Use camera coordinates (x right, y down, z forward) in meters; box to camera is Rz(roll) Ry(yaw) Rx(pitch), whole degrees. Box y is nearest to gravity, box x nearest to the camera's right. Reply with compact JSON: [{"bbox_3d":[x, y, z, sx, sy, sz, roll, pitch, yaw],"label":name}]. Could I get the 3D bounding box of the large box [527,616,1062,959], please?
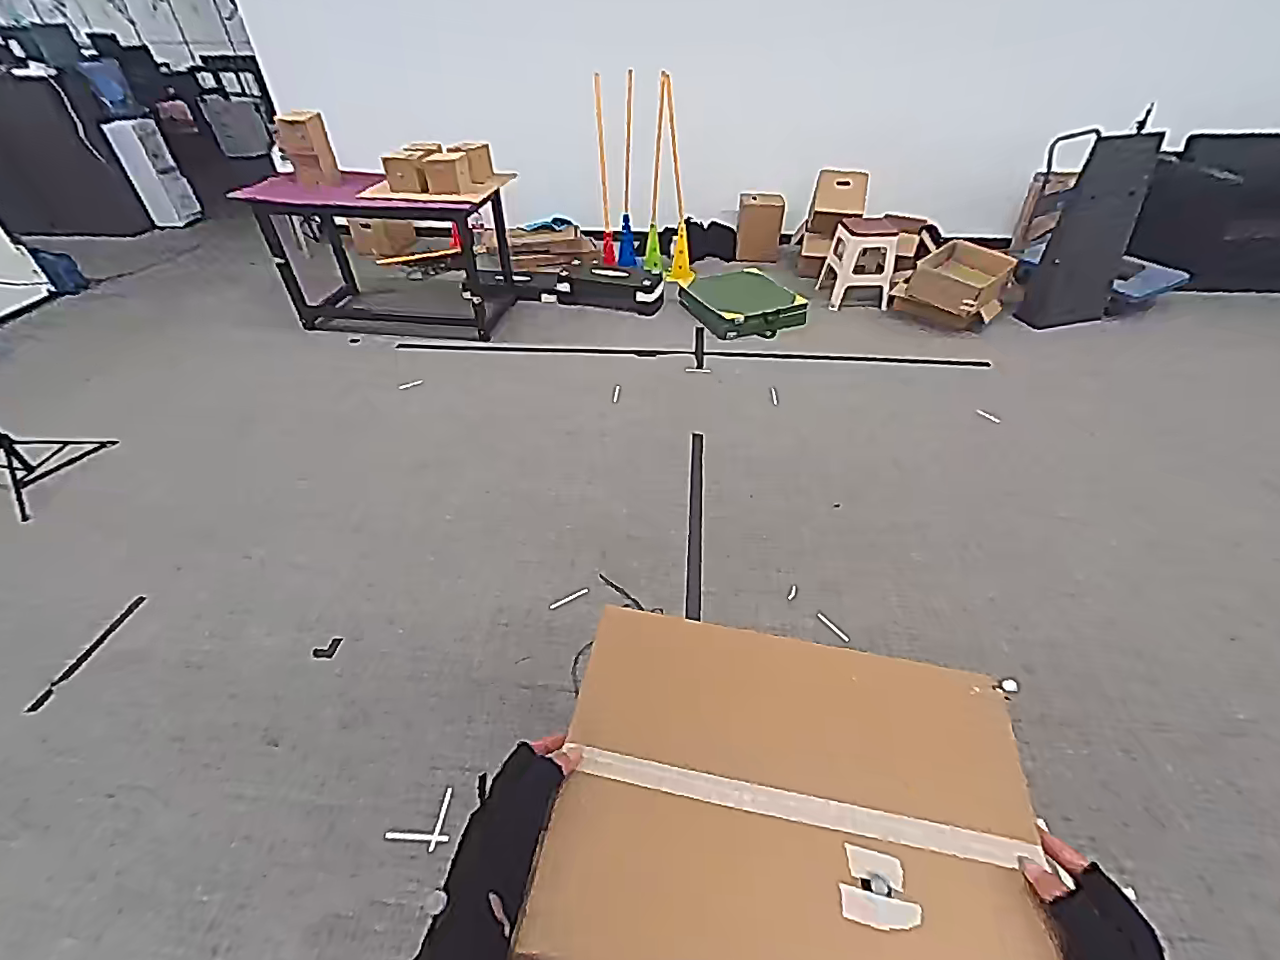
[{"bbox_3d":[0.132,0.388,0.581,0.408,0.320,0.320,9,48,8],"label":"large box"}]
